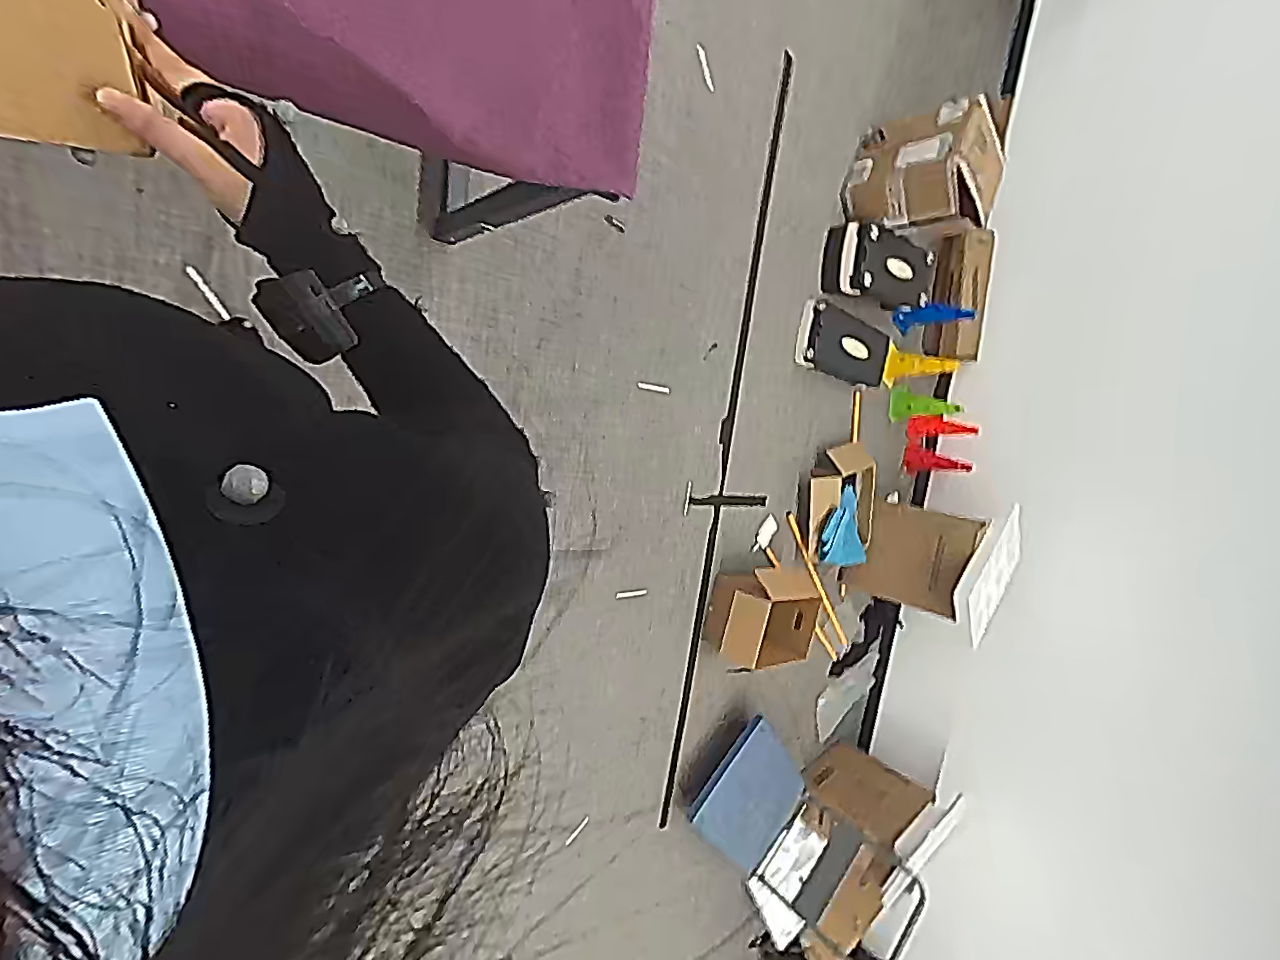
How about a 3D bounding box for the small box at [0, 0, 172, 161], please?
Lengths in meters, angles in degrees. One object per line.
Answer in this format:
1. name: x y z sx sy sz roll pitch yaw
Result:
1. small box: -0.405 -0.311 0.319 0.179 0.176 0.168 -11 131 -36
